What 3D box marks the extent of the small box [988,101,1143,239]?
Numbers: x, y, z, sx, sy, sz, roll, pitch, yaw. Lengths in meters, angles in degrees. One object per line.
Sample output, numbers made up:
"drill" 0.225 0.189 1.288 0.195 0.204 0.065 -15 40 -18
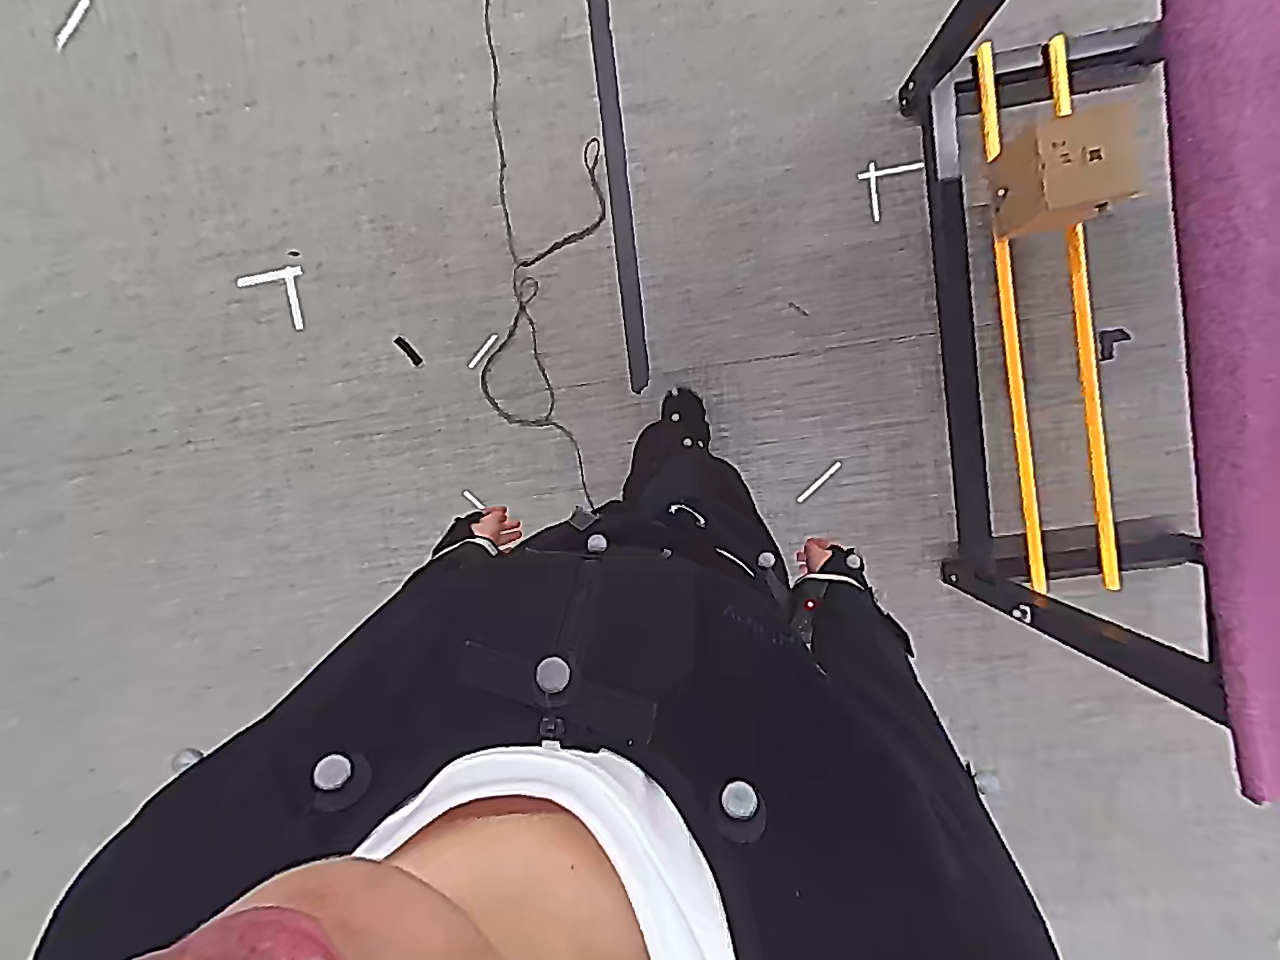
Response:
"small box" 0.837 -0.605 1.078 0.179 0.176 0.168 -10 94 6
